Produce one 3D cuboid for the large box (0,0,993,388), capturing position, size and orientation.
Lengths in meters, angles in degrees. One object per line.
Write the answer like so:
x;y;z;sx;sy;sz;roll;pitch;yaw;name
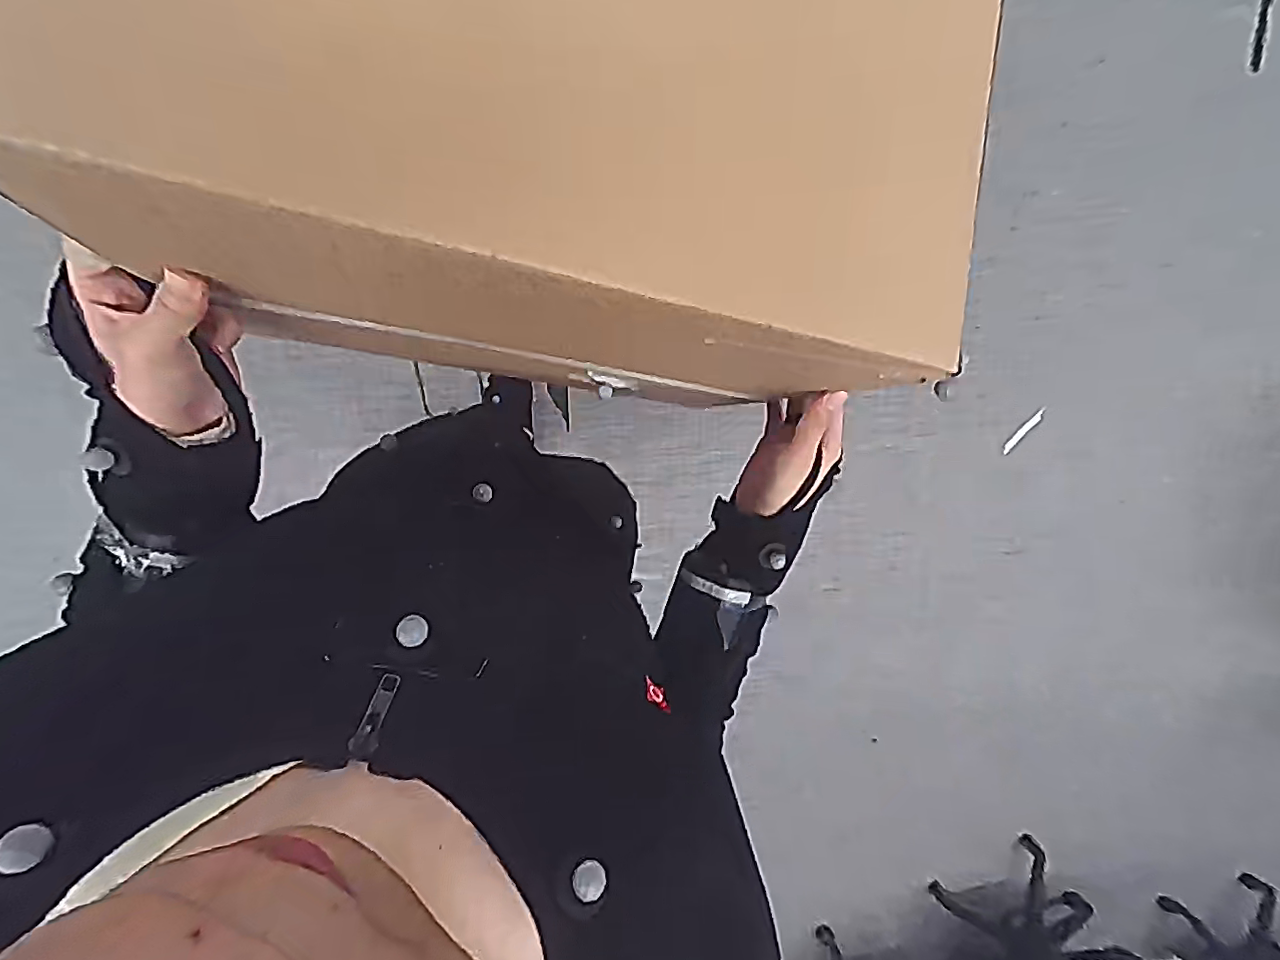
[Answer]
-0.057;-0.251;0.341;0.408;0.320;0.320;4;93;-23;large box
